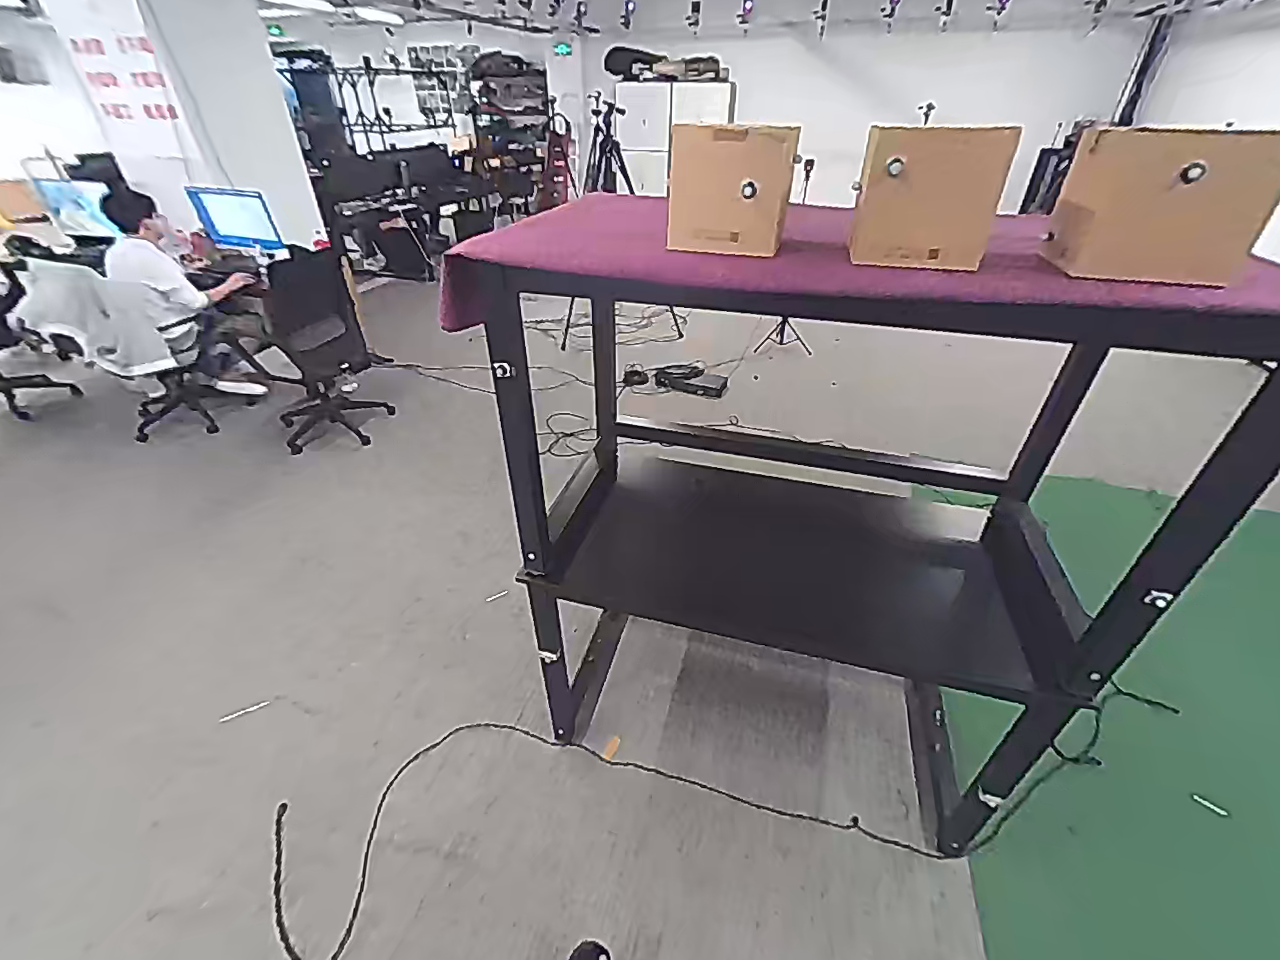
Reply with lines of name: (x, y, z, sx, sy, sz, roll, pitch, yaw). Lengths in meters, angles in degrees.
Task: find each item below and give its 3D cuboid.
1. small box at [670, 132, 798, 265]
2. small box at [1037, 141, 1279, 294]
small box: (0.147, -0.448, 0.856, 0.168, 0.176, 0.179, 11, 35, 14)
small box: (0.678, -0.358, 0.733, 0.179, 0.176, 0.168, 10, 35, 13)
